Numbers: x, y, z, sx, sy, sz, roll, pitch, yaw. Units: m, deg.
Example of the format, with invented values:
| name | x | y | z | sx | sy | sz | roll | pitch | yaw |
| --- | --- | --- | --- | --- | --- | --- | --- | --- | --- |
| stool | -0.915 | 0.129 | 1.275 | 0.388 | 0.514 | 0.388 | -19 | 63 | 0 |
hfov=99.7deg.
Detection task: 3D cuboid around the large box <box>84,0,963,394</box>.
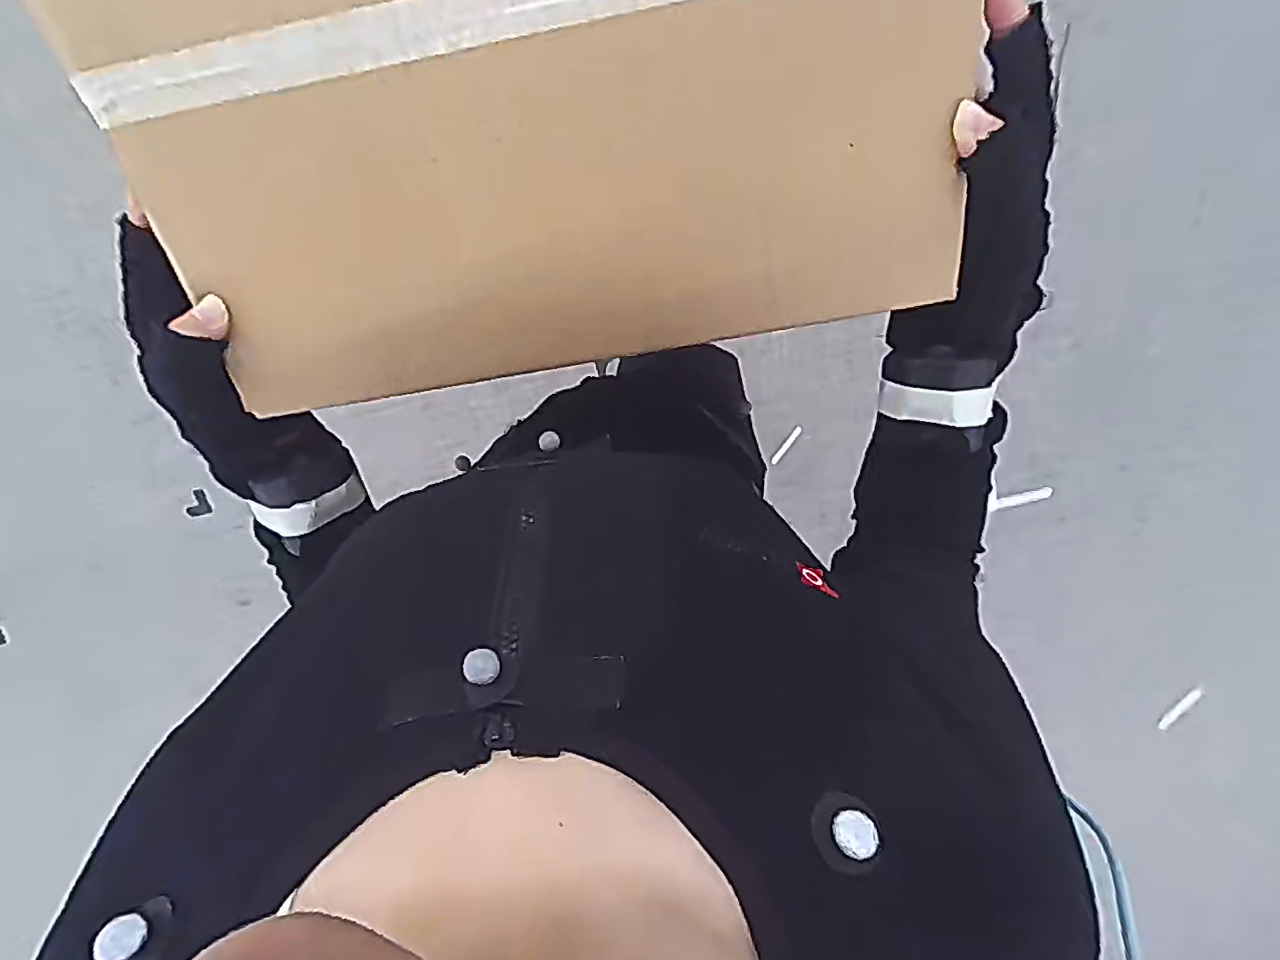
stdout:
| name | x | y | z | sx | sy | sz | roll | pitch | yaw |
| --- | --- | --- | --- | --- | --- | --- | --- | --- | --- |
| large box | -0.055 | -0.283 | 0.382 | 0.408 | 0.320 | 0.320 | -9 | 116 | 4 |
